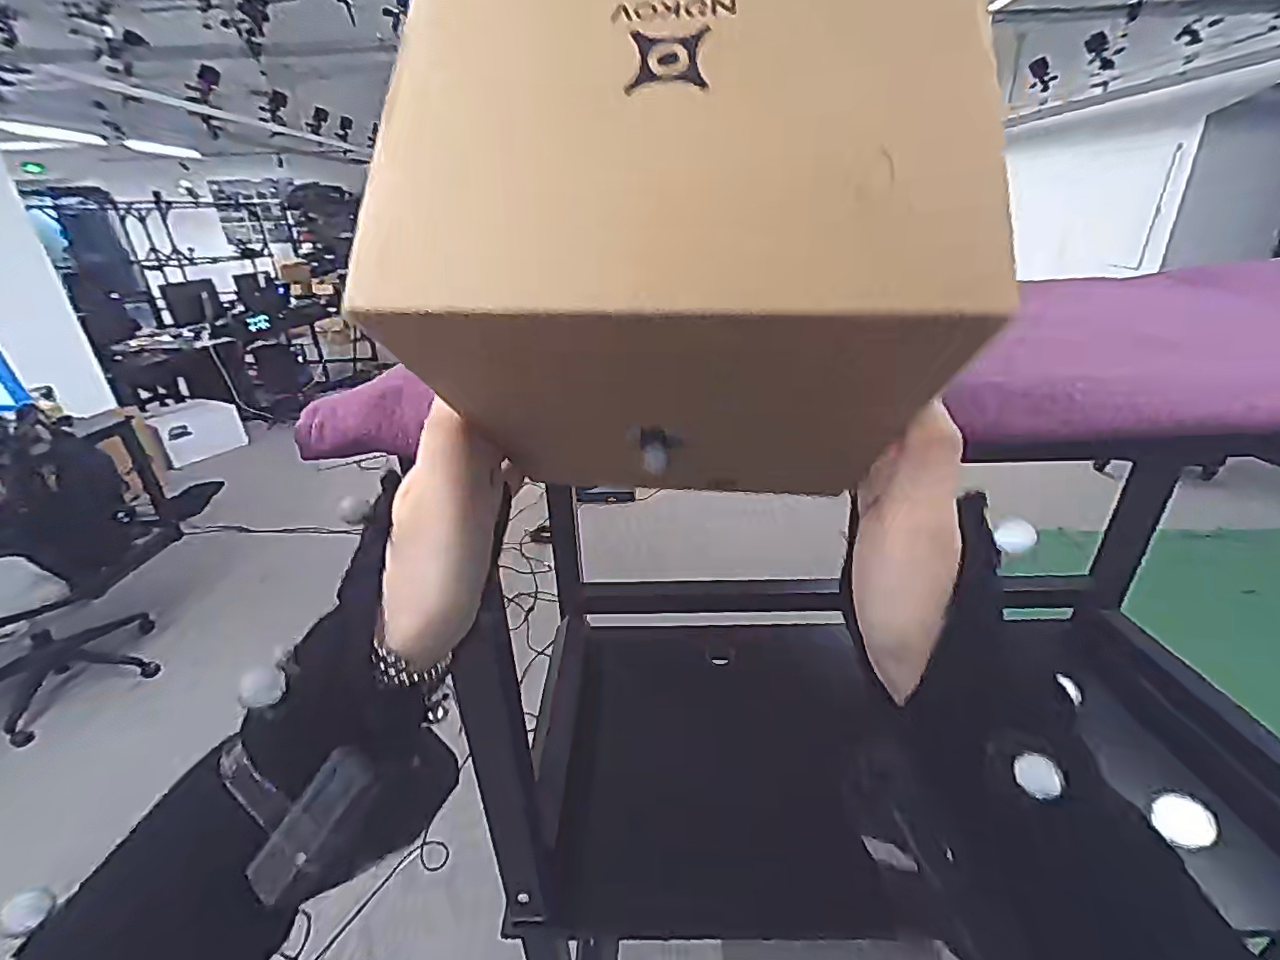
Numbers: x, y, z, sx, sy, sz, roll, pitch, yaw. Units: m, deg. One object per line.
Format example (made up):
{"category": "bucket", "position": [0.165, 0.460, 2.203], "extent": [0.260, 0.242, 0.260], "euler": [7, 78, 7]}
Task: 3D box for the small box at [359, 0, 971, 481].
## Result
{"category": "small box", "position": [0.016, -0.104, 0.240], "extent": [0.168, 0.179, 0.176], "euler": [3, -16, 7]}
